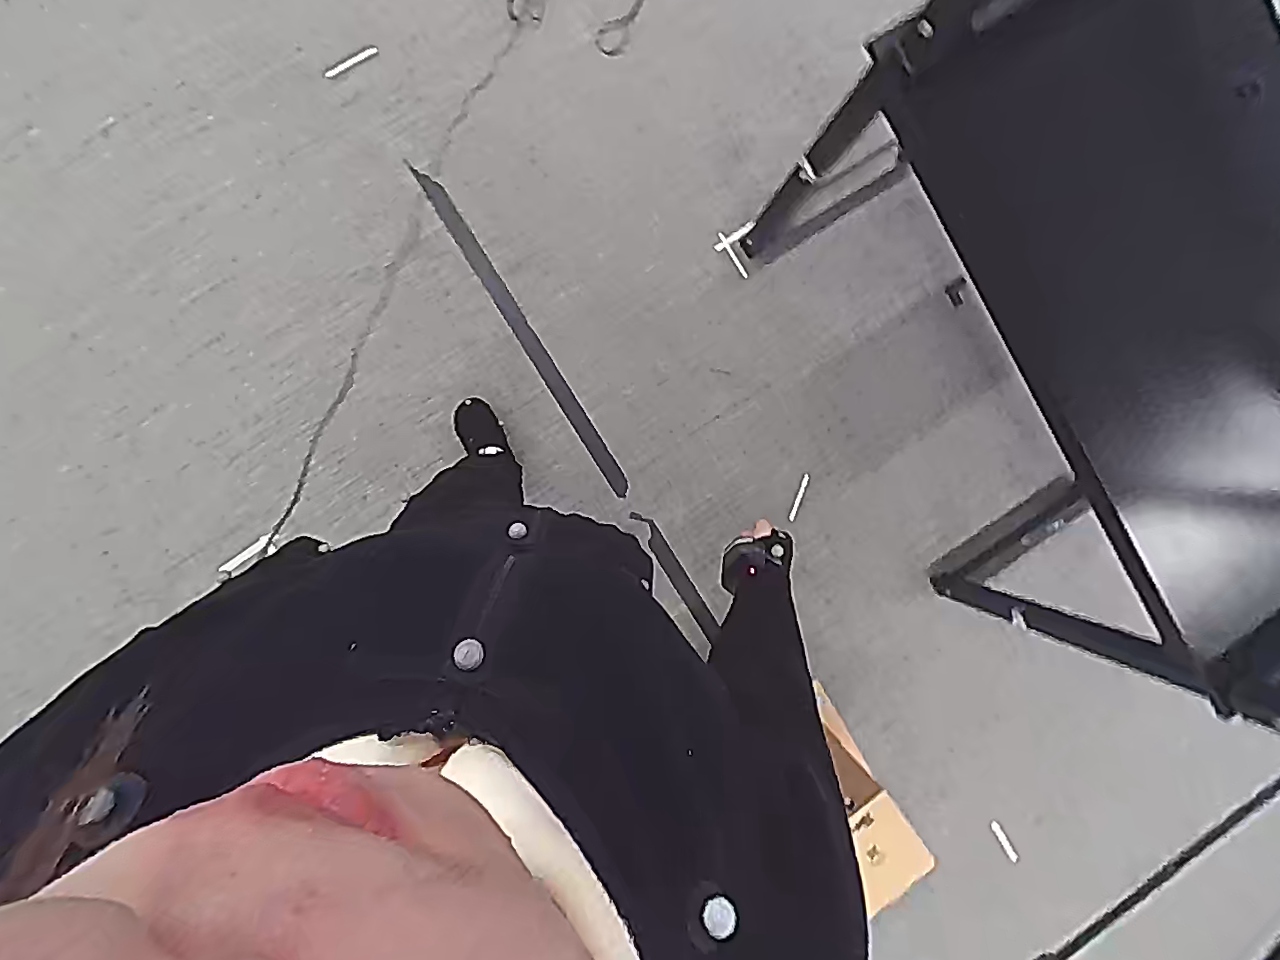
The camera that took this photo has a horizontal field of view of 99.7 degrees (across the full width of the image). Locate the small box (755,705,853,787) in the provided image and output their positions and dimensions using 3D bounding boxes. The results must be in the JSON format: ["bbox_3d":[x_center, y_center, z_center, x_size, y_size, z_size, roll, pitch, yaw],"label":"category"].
[{"bbox_3d":[0.379,0.632,1.176,0.168,0.176,0.179,-32,95,-5],"label":"small box"}]

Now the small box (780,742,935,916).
[{"bbox_3d":[0.397,0.639,1.013,0.168,0.176,0.179,-36,97,-5],"label":"small box"}]
